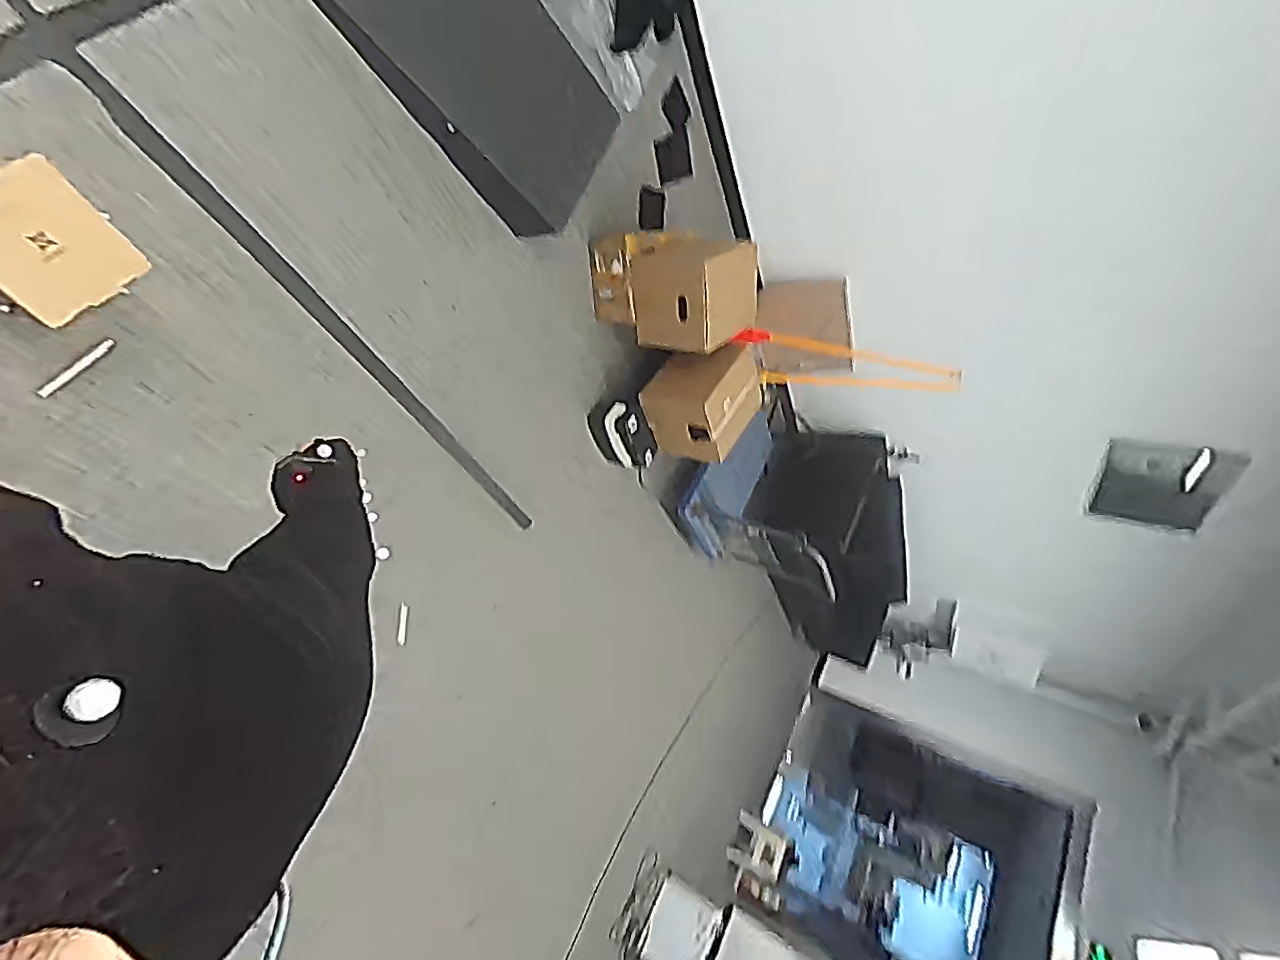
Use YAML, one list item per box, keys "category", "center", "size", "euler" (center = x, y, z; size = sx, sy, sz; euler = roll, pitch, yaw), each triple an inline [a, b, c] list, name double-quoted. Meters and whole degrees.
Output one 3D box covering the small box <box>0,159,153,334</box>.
- category: "small box"
  center: [-0.892, -0.339, 0.797]
  size: [0.168, 0.176, 0.179]
  euler: [-55, 140, -28]
